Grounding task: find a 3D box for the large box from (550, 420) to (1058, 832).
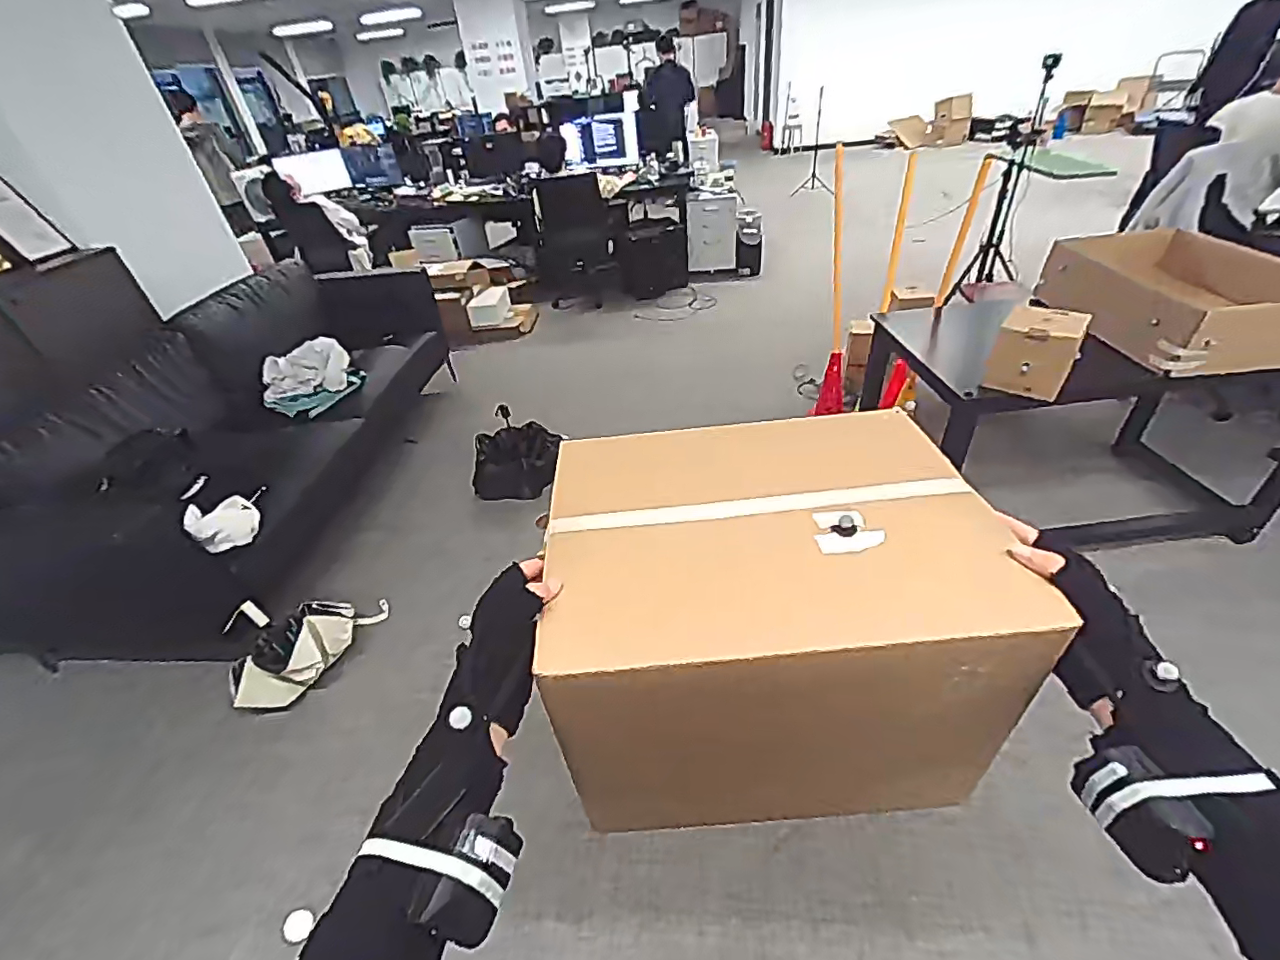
[{"bbox_3d":[0.127,0.156,0.618,0.408,0.320,0.320,-5,38,0],"label":"large box"}]
